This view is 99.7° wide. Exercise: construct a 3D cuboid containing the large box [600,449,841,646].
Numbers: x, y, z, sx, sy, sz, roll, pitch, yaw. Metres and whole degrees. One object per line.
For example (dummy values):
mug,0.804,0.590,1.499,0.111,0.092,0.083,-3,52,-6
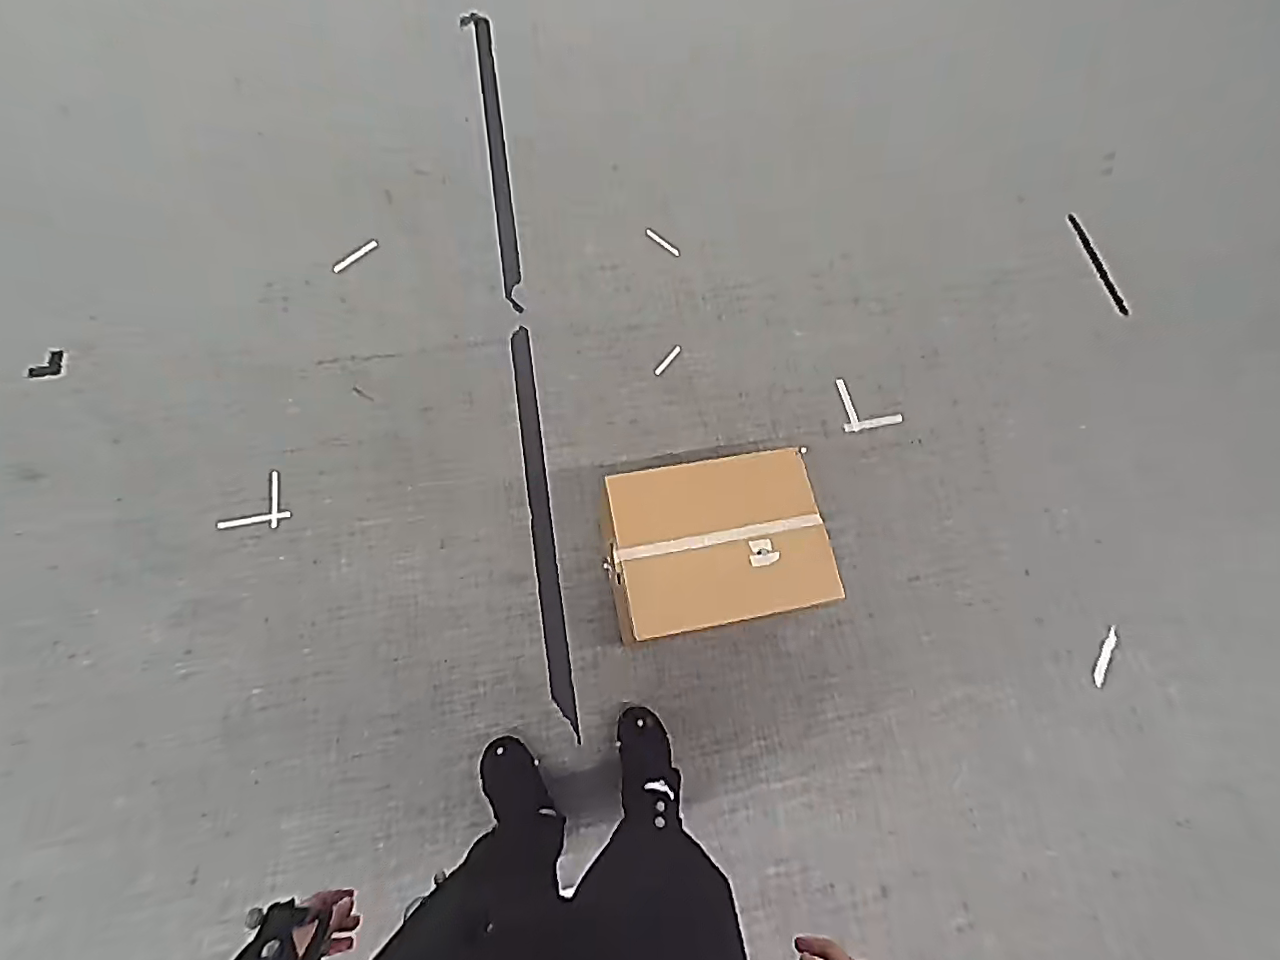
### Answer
large box,0.140,0.157,1.168,0.408,0.320,0.320,-8,73,-10
